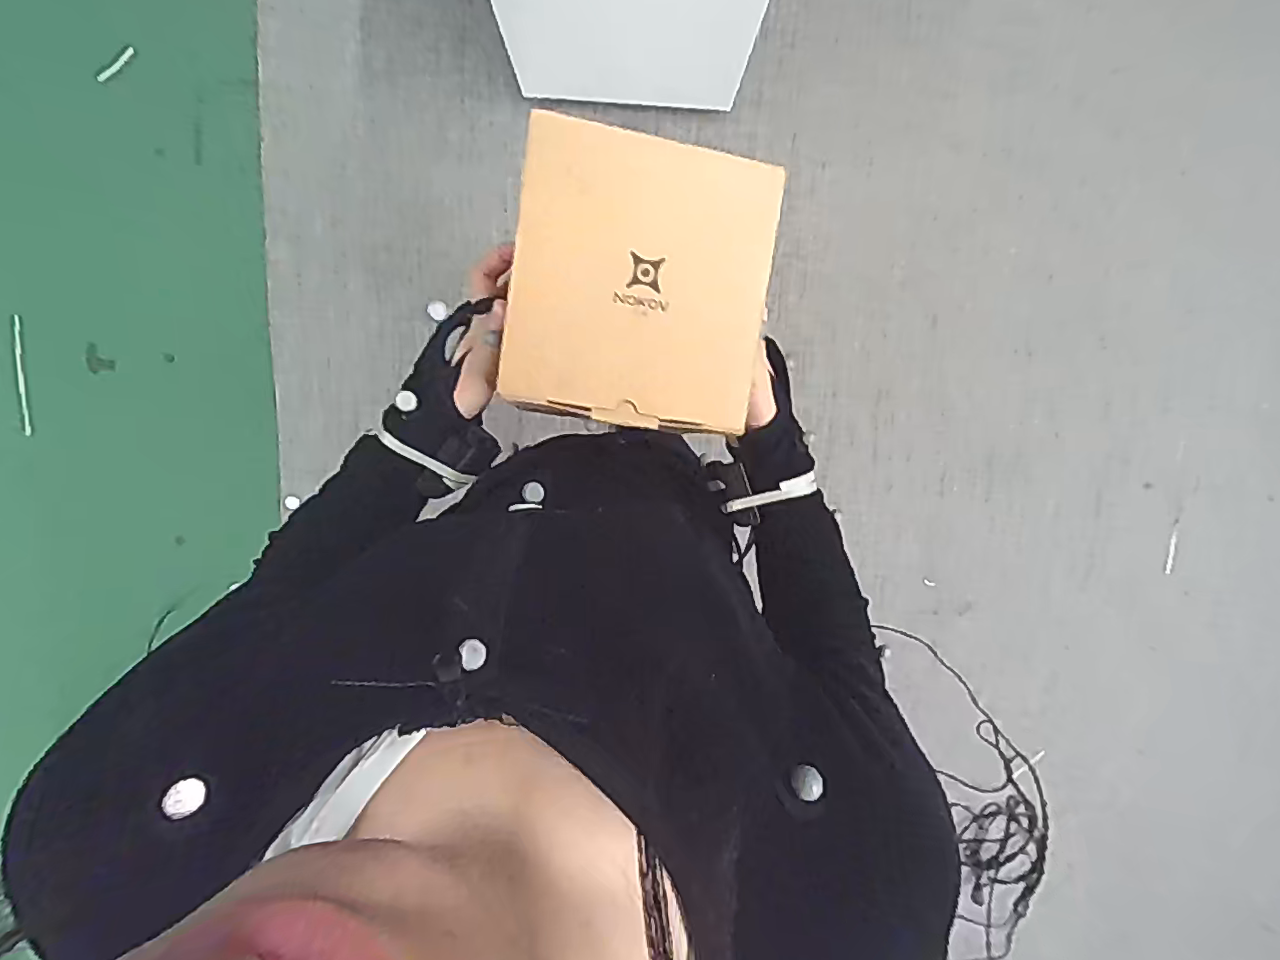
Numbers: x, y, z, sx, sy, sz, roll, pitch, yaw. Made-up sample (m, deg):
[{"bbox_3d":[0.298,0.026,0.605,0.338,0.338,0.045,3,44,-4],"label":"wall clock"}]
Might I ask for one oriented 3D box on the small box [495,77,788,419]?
[{"bbox_3d":[-0.009,-0.144,0.406,0.168,0.176,0.179,6,94,-9],"label":"small box"}]
